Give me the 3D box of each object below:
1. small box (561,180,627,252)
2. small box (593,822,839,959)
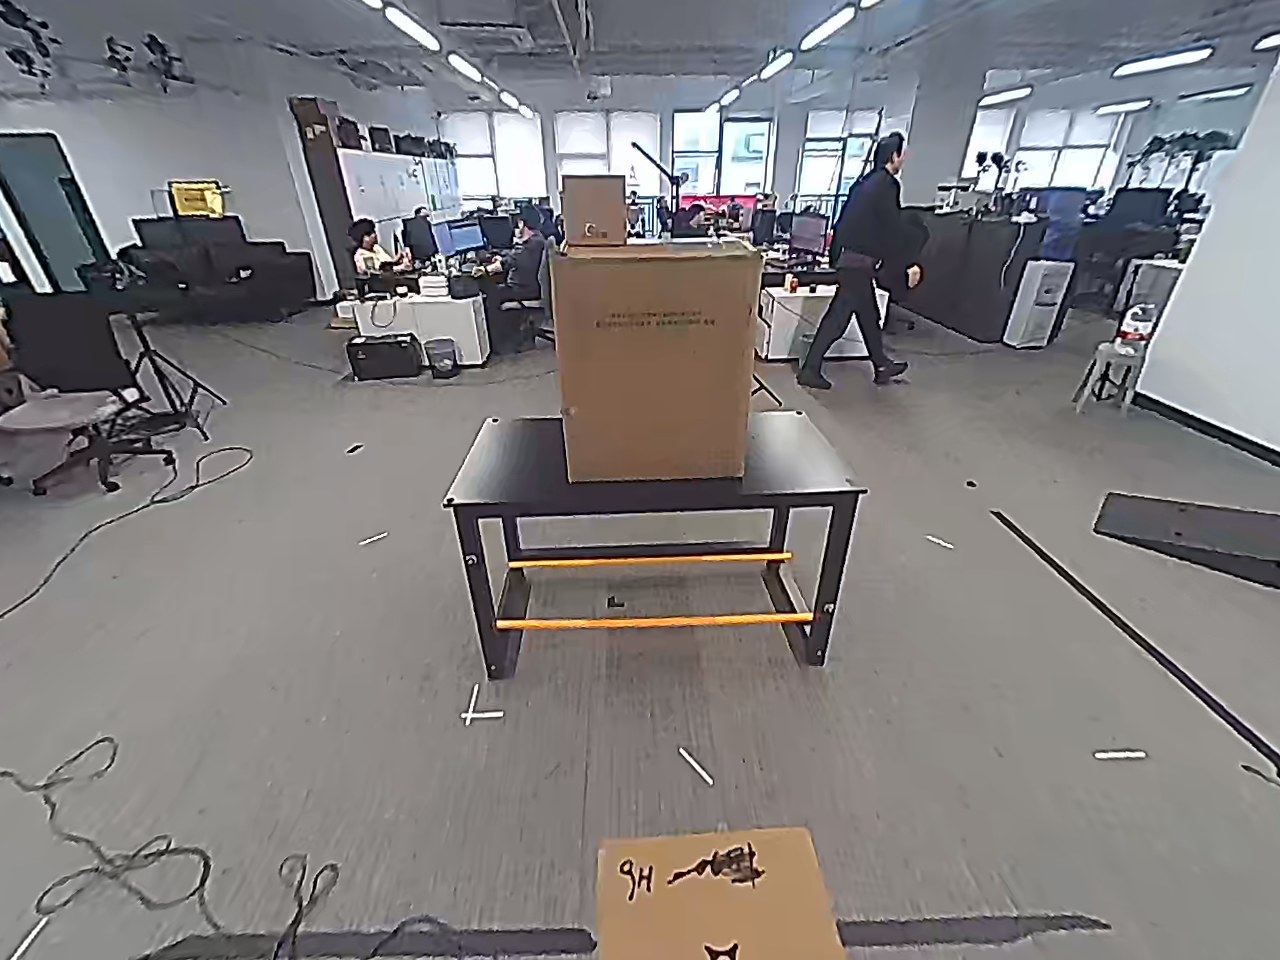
[{"bbox_3d":[-0.123,-0.719,1.472,0.168,0.176,0.179,-4,29,-3],"label":"small box"},{"bbox_3d":[0.053,0.386,0.401,0.168,0.176,0.179,-2,39,-2],"label":"small box"}]
